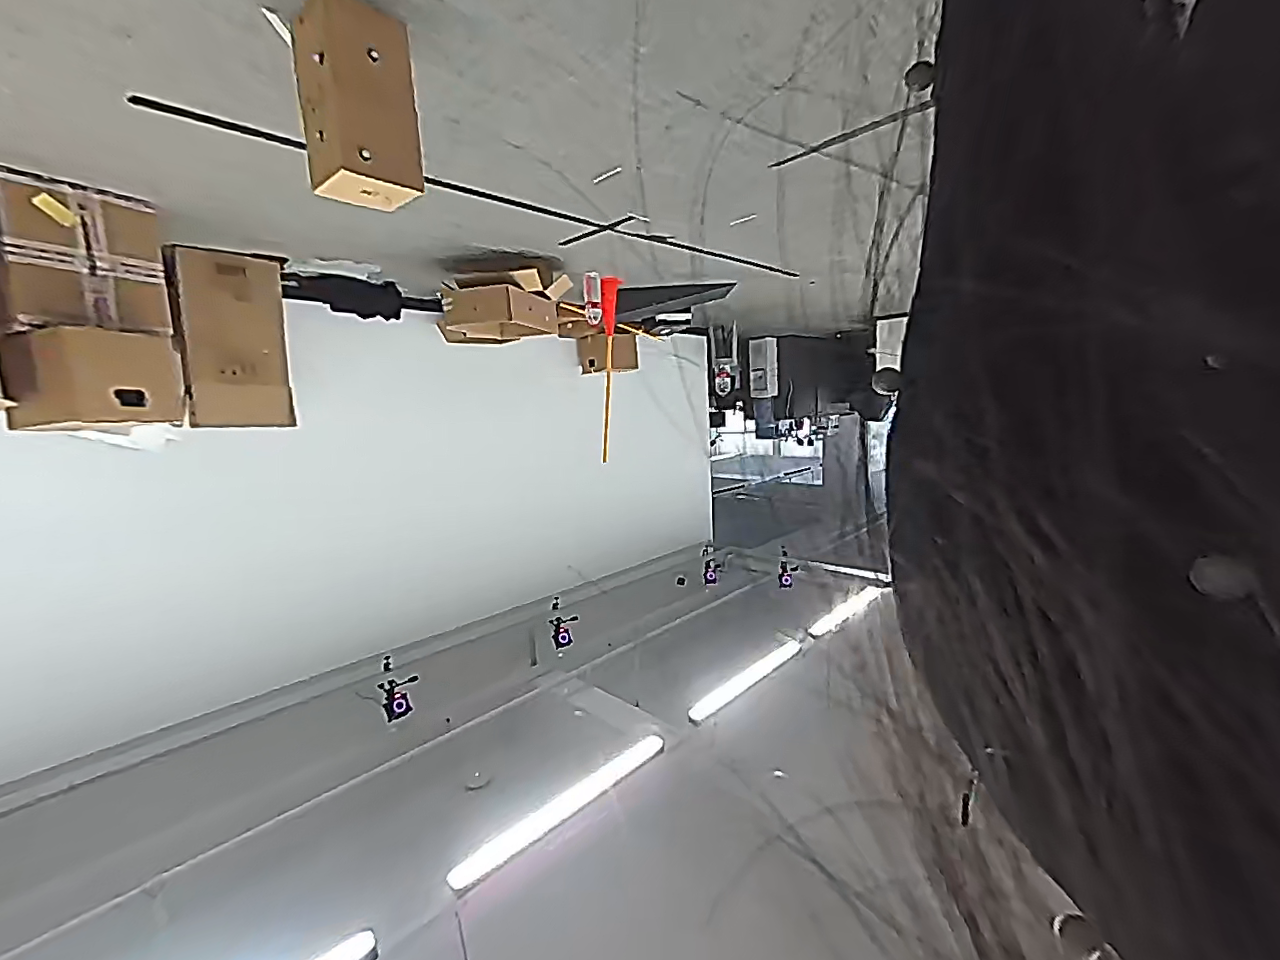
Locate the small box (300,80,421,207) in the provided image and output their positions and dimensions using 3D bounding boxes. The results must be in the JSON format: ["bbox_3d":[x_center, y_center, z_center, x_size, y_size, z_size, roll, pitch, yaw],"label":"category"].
[{"bbox_3d":[-0.599,-0.714,1.156,0.168,0.176,0.179,5,-168,41],"label":"small box"}]
